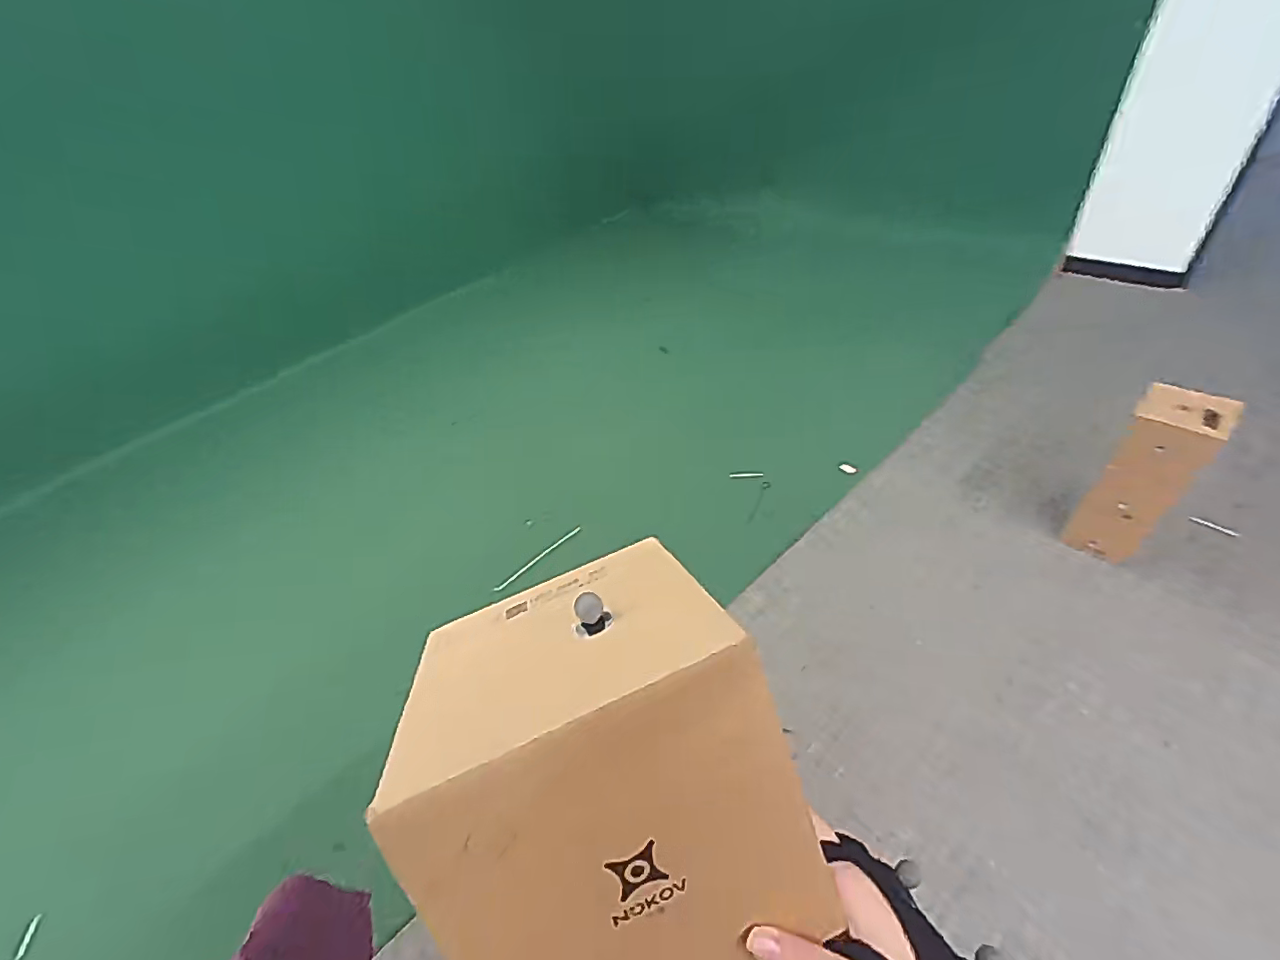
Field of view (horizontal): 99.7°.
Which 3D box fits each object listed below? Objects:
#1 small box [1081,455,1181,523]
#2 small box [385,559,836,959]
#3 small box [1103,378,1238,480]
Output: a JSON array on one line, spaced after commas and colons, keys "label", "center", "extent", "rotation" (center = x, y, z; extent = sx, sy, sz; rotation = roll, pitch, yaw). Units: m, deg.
[{"label": "small box", "center": [1.364, -0.016, 1.491], "extent": [0.168, 0.176, 0.179], "rotation": [28, 59, 36]}, {"label": "small box", "center": [-0.020, 0.163, 0.320], "extent": [0.168, 0.179, 0.176], "rotation": [-22, 15, -9]}, {"label": "small box", "center": [1.336, -0.125, 1.371], "extent": [0.168, 0.176, 0.179], "rotation": [-40, 49, -24]}]
